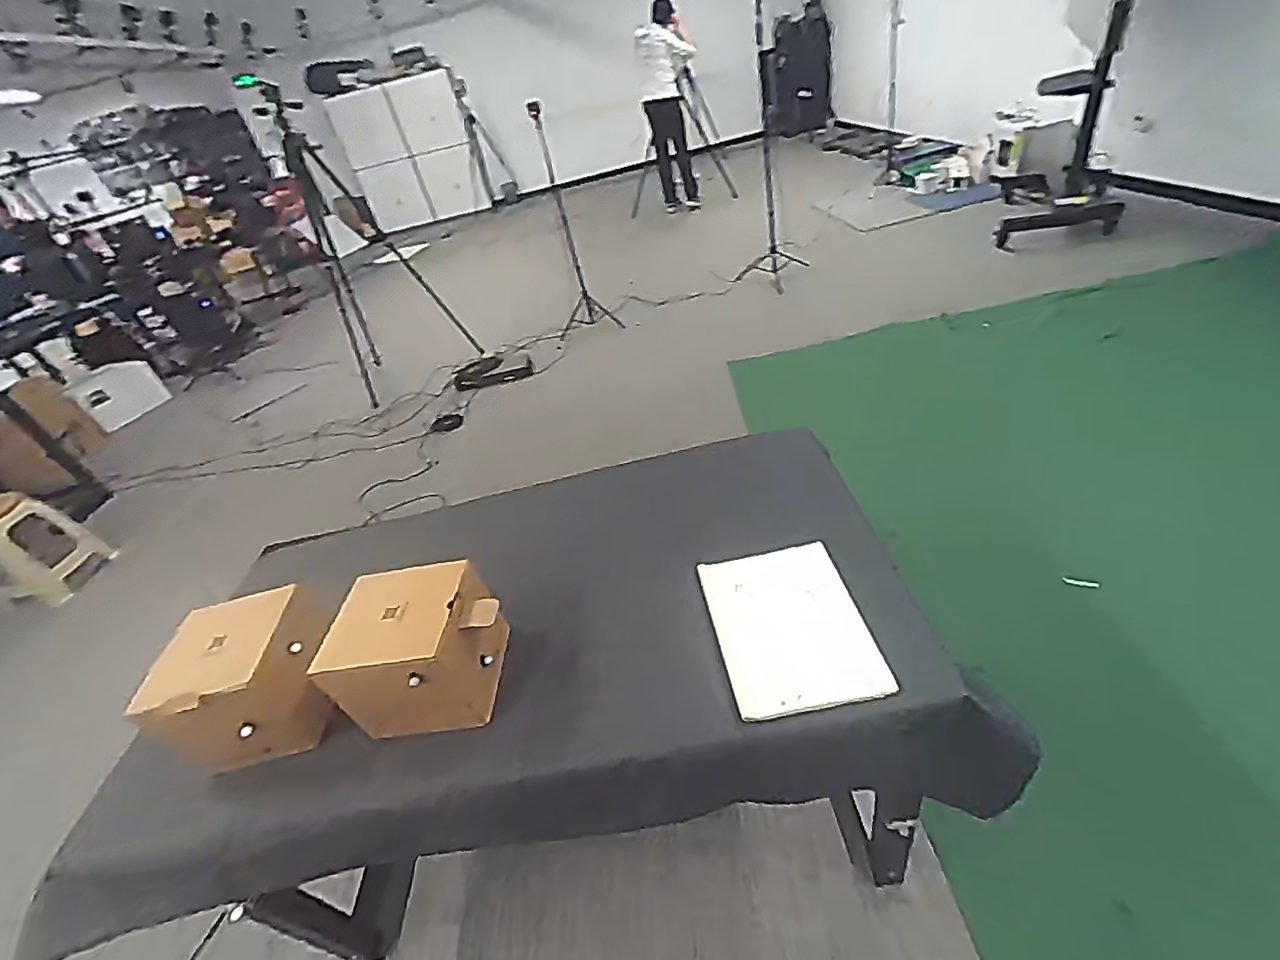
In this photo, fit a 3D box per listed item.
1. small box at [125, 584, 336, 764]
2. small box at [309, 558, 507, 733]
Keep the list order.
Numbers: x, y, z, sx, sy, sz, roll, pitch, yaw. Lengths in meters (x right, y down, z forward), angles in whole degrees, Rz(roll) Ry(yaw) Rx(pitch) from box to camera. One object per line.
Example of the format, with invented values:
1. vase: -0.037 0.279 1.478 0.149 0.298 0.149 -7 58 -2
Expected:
1. small box: -0.565 0.288 0.792 0.168 0.176 0.179 -14 36 -1
2. small box: -0.312 0.238 0.769 0.179 0.176 0.168 -10 37 7
